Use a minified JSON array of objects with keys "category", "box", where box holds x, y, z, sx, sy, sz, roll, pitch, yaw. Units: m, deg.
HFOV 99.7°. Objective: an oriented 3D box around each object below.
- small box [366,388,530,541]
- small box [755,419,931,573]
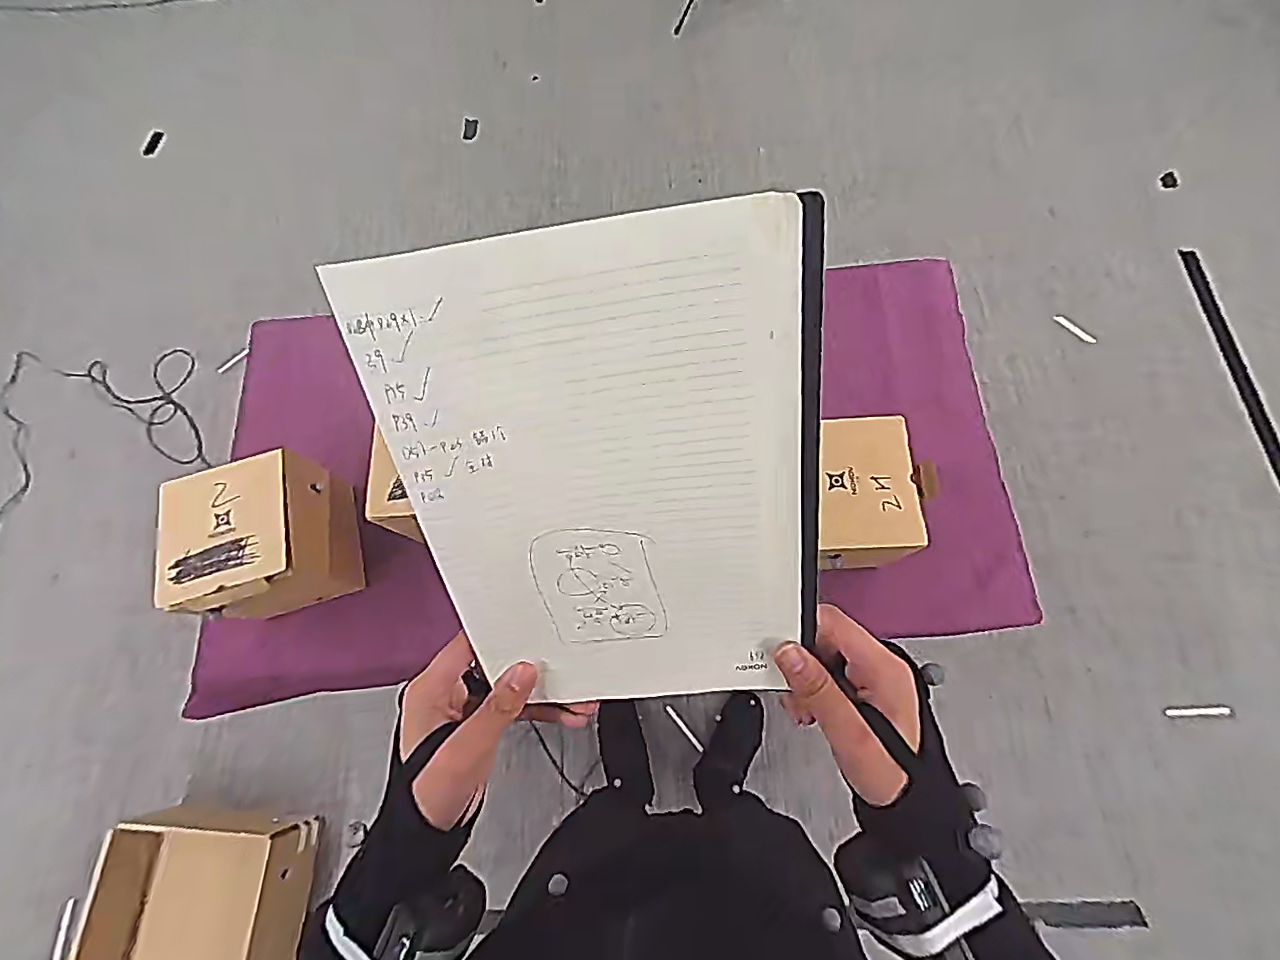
[{"category":"small box","box":[-0.258,-0.012,0.770,0.168,0.176,0.179,-3,71,3]},{"category":"small box","box":[0.251,0.030,0.720,0.179,0.176,0.168,-2,72,3]}]
